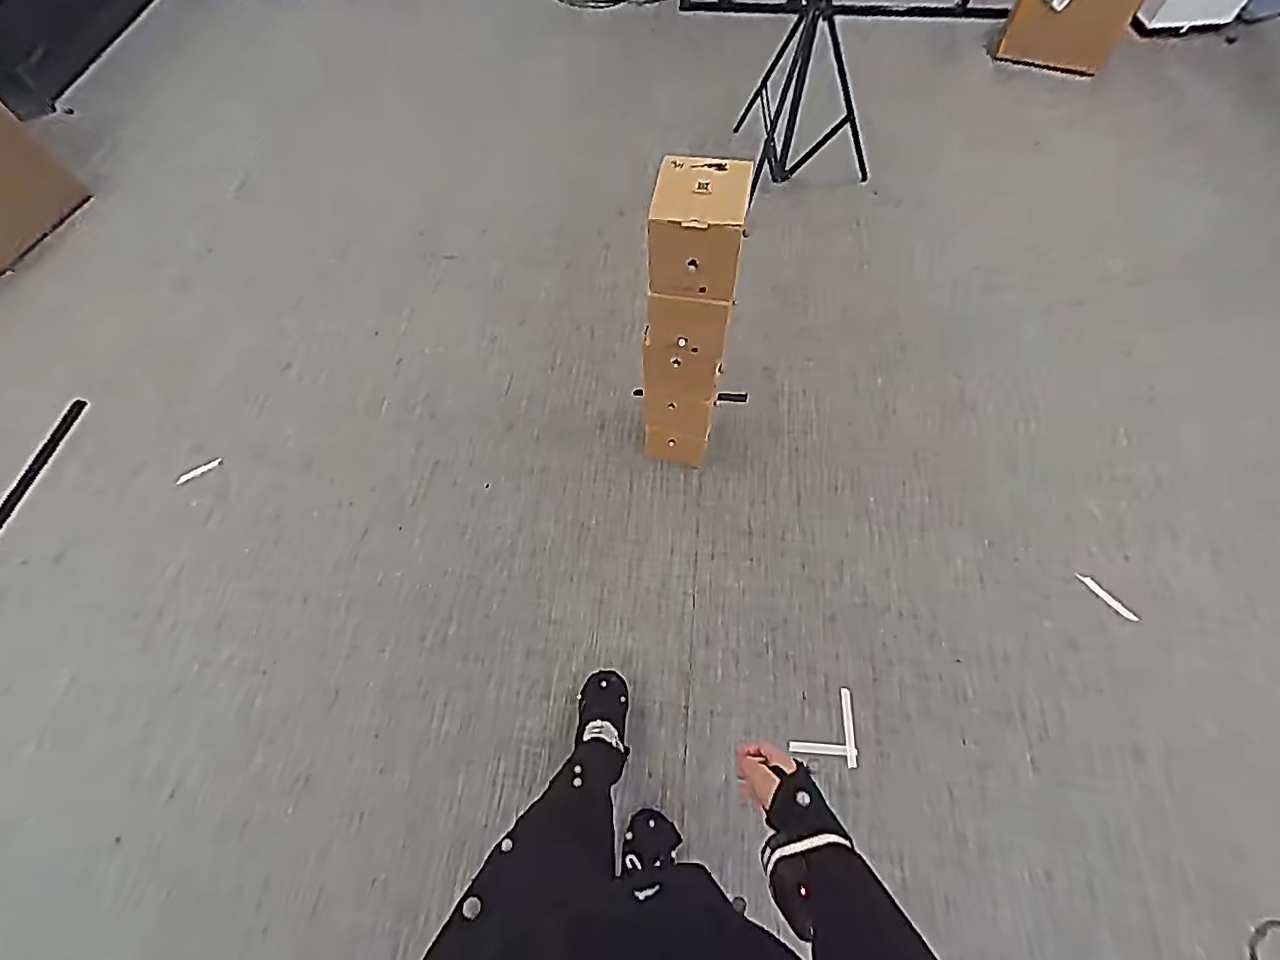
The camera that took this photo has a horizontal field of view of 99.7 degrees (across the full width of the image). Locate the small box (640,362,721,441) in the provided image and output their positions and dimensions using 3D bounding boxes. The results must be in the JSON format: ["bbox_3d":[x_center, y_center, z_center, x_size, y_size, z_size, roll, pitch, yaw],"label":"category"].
[{"bbox_3d":[0.108,-0.224,1.458,0.179,0.176,0.168,14,65,9],"label":"small box"}]

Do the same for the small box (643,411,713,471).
[{"bbox_3d":[0.113,-0.142,1.600,0.179,0.176,0.168,11,64,7],"label":"small box"}]

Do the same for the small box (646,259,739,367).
[{"bbox_3d":[0.111,-0.374,1.168,0.168,0.176,0.179,11,65,8],"label":"small box"}]

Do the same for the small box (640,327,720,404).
[{"bbox_3d":[0.104,-0.305,1.317,0.179,0.176,0.168,11,65,7],"label":"small box"}]

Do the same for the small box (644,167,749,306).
[{"bbox_3d":[0.107,-0.456,1.026,0.168,0.176,0.179,9,65,7],"label":"small box"}]
